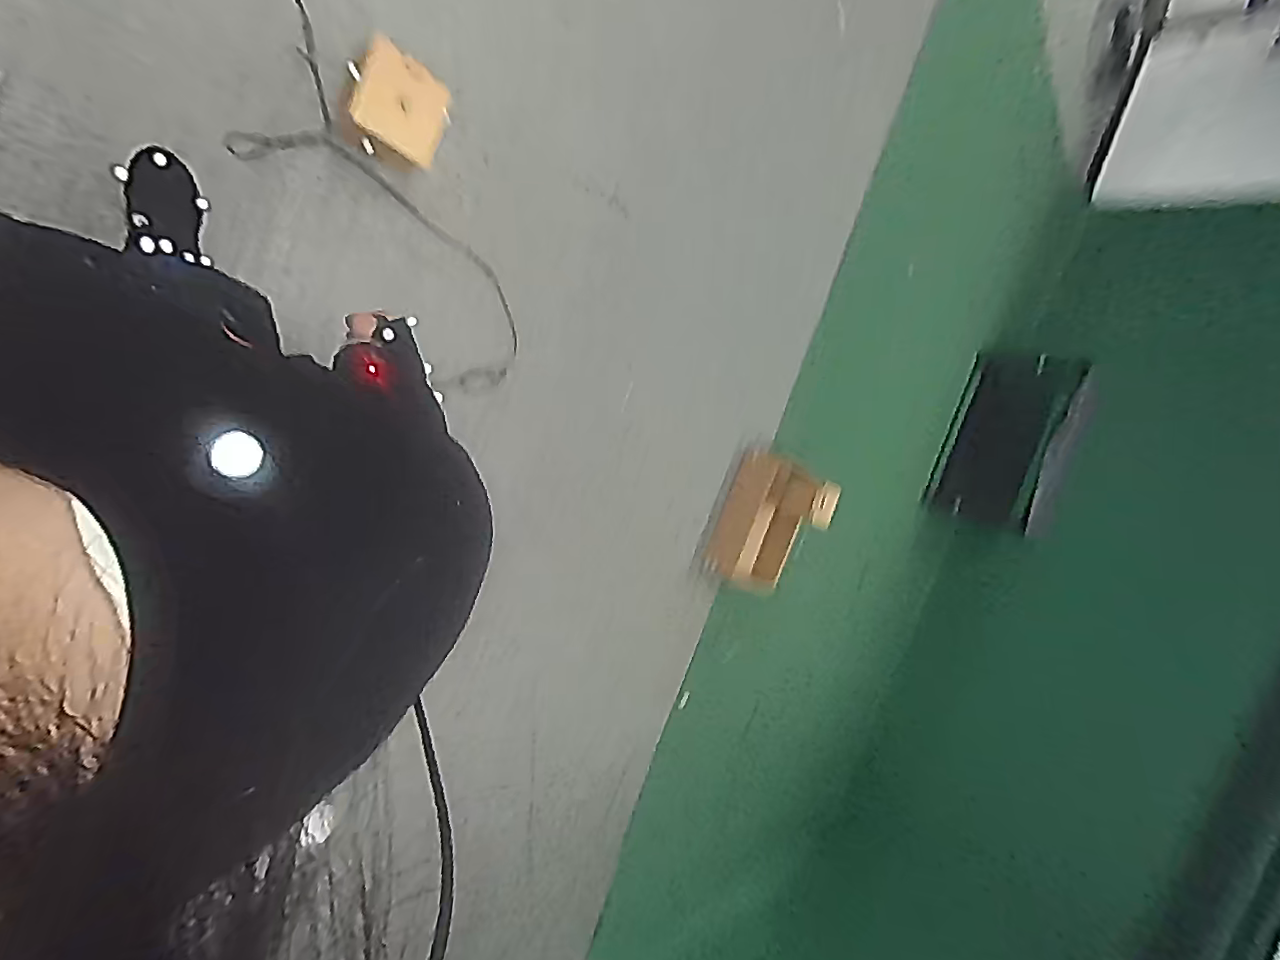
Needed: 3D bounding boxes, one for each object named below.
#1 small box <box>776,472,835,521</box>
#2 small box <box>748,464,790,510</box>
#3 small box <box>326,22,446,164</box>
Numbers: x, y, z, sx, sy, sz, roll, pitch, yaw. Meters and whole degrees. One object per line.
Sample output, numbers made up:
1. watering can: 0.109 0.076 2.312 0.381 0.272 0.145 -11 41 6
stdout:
1. small box: 0.751 0.071 2.467 0.179 0.176 0.168 16 97 -46
2. small box: 0.650 0.030 2.590 0.179 0.176 0.168 14 97 -45
3. small box: -0.553 -0.818 1.168 0.168 0.176 0.179 18 94 -46
